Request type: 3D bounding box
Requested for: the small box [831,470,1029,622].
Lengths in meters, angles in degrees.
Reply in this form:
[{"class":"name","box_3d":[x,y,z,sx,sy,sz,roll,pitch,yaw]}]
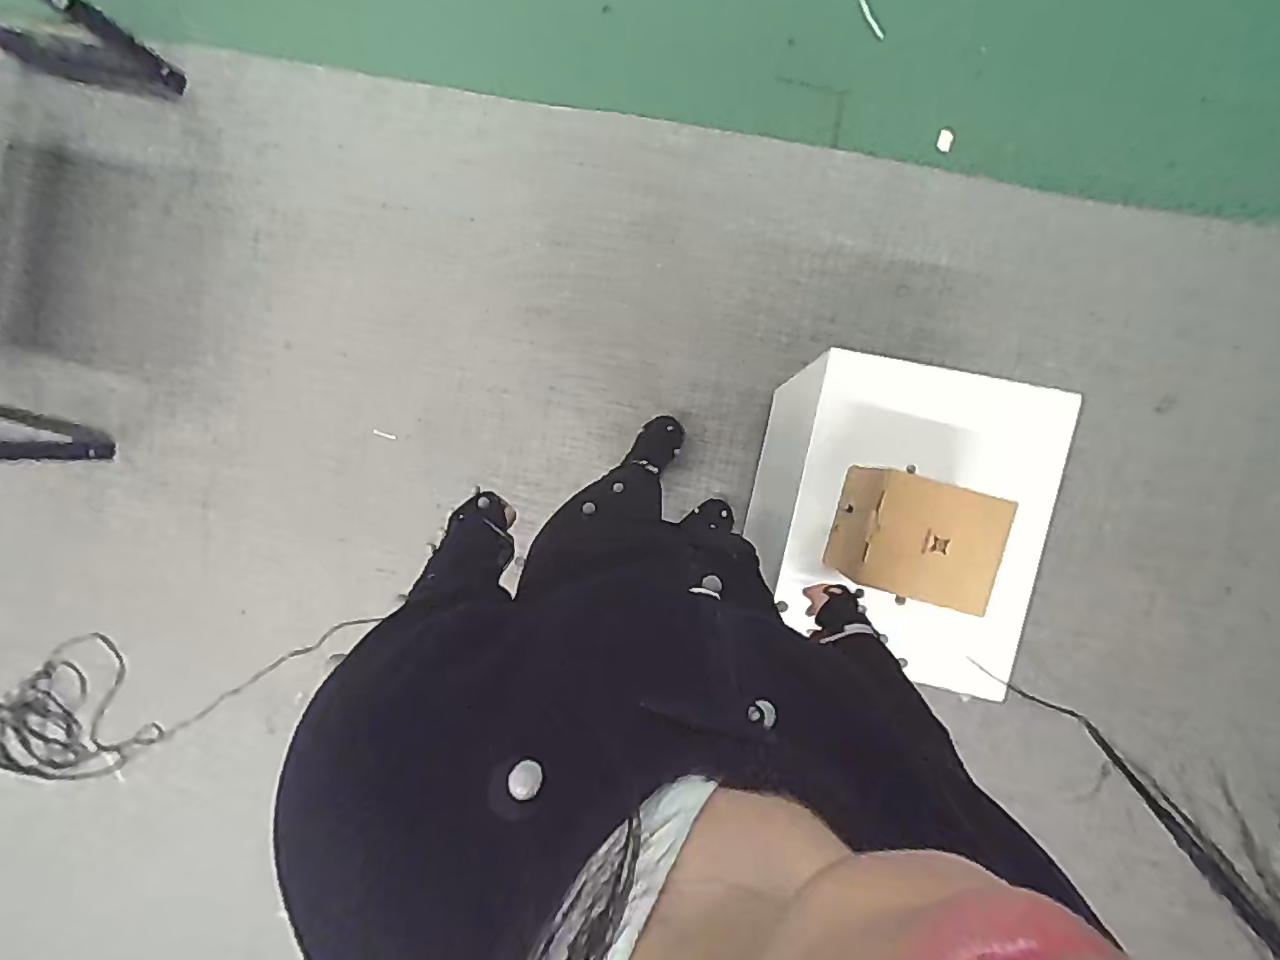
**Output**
[{"class":"small box","box_3d":[0.401,0.082,0.779,0.179,0.176,0.168,15,93,4]}]
